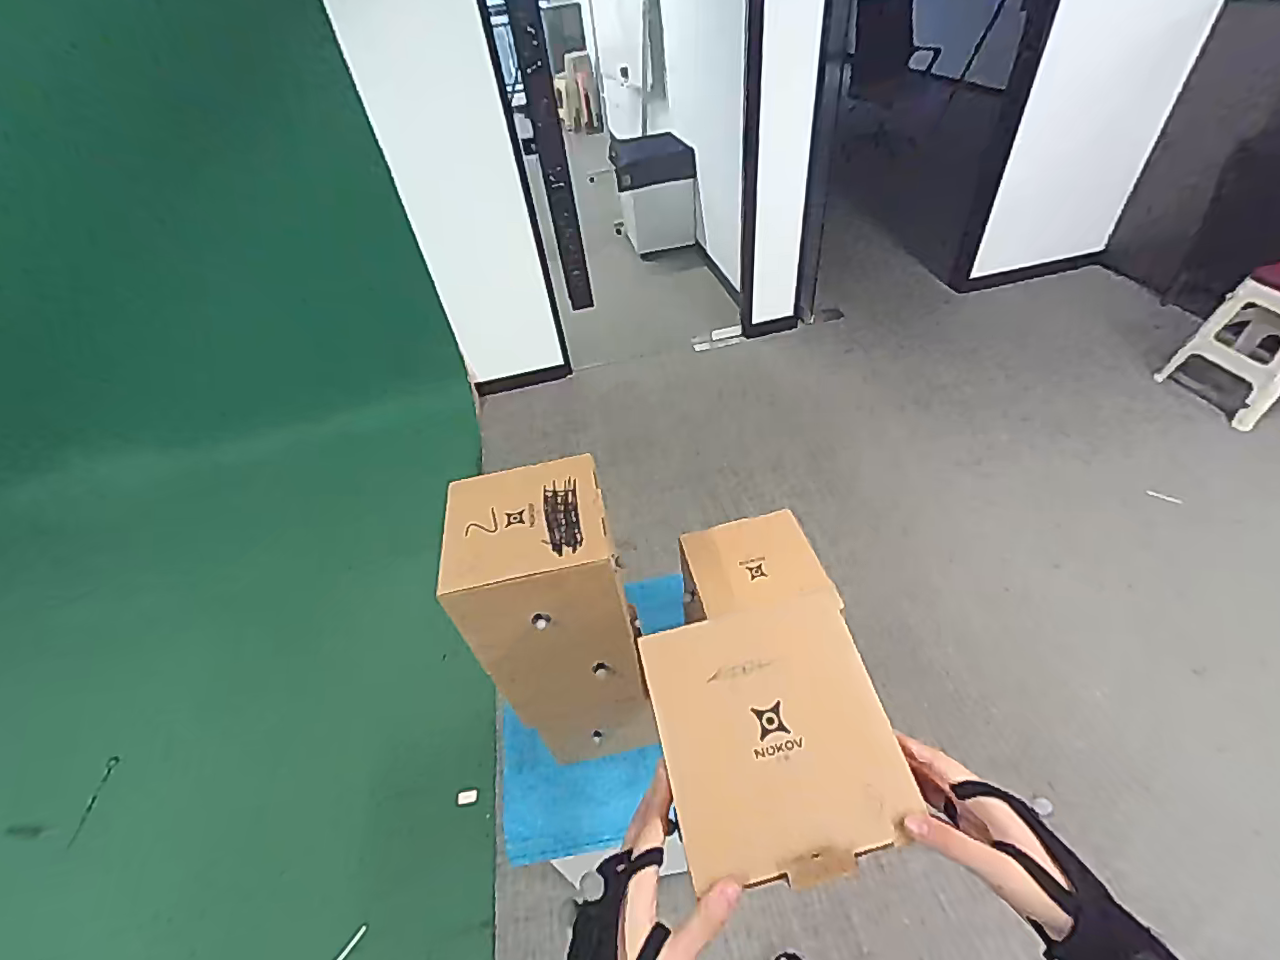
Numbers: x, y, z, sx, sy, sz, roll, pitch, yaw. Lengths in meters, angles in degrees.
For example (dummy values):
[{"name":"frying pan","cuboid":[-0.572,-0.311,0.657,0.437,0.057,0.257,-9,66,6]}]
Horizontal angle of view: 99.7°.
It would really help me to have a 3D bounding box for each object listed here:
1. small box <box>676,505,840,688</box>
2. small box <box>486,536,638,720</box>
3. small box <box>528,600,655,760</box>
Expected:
[{"name":"small box","cuboid":[0.156,0.168,0.754,0.168,0.176,0.179,-13,43,-4]},{"name":"small box","cuboid":[-0.102,0.206,0.750,0.179,0.176,0.168,-12,44,-3]},{"name":"small box","cuboid":[-0.076,0.321,0.865,0.179,0.176,0.168,-12,44,-3]}]
